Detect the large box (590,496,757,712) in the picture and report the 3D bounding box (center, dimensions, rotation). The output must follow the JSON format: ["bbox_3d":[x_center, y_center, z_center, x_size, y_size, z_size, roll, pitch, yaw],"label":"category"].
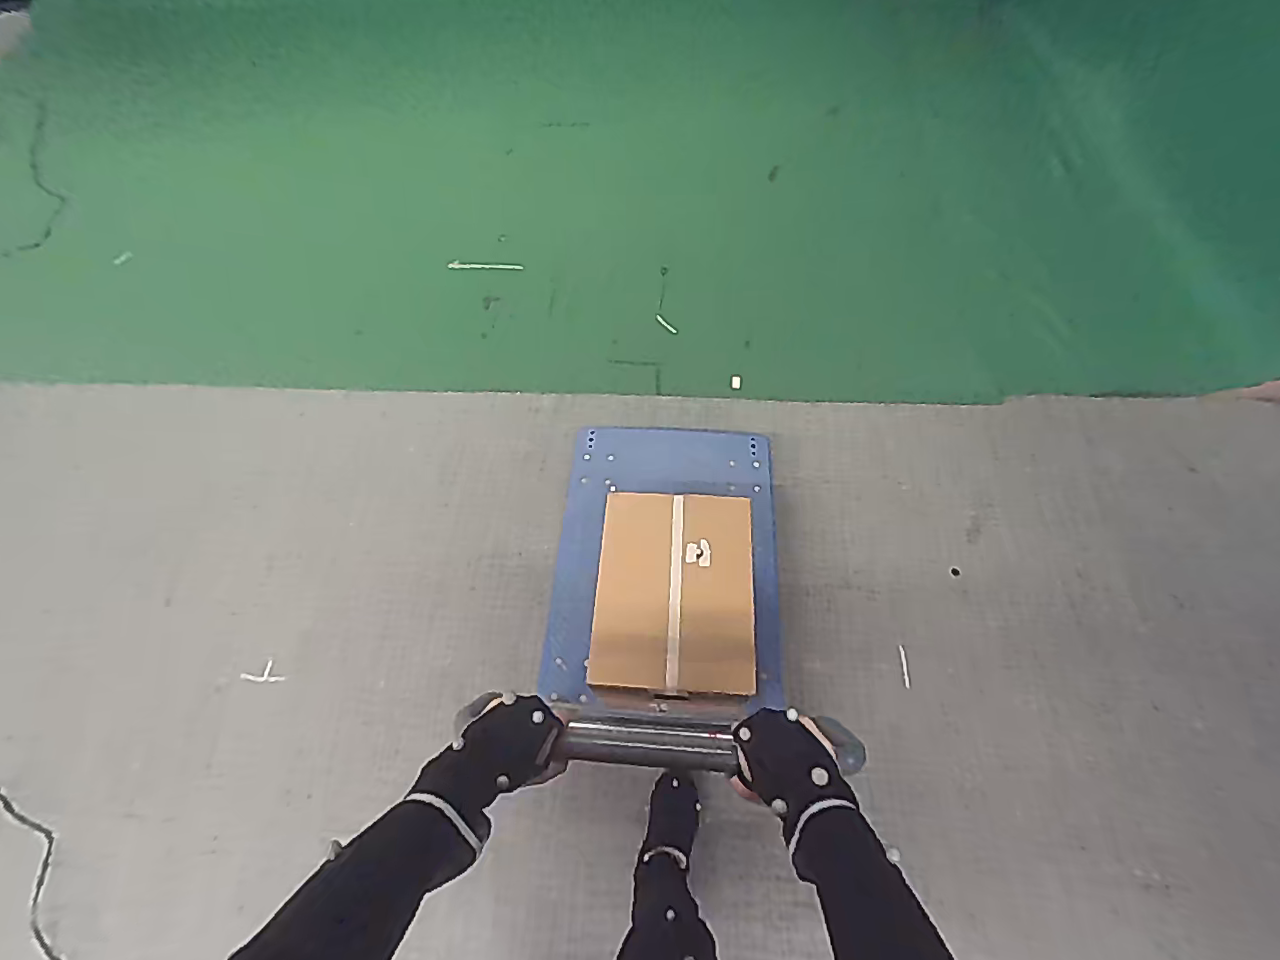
[{"bbox_3d":[0.076,0.287,1.218,0.320,0.320,0.408,3,60,3],"label":"large box"}]
